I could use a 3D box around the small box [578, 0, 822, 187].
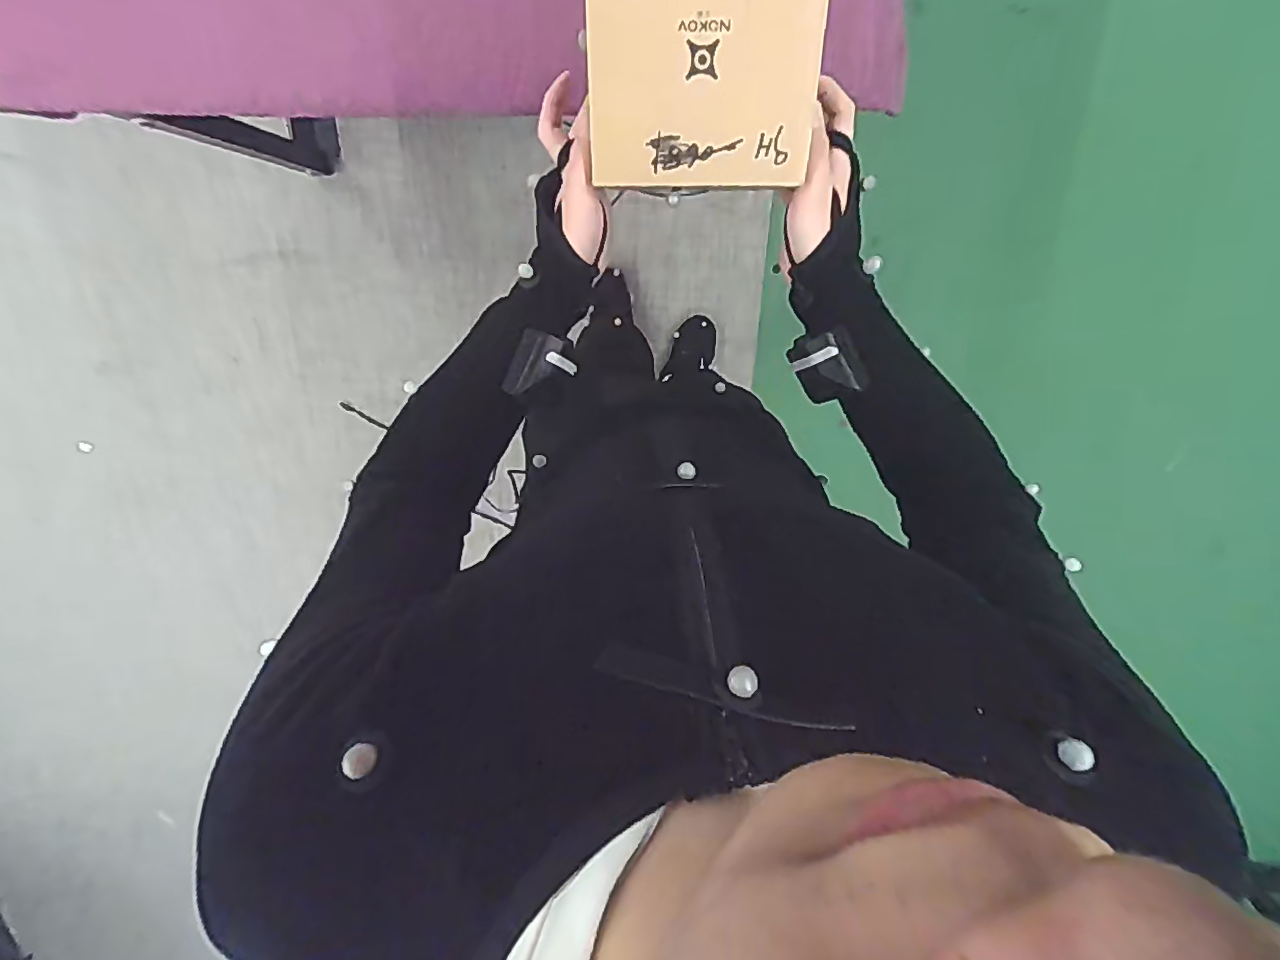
[{"bbox_3d":[0.040,-0.340,0.436,0.168,0.176,0.179,1,117,1],"label":"small box"}]
